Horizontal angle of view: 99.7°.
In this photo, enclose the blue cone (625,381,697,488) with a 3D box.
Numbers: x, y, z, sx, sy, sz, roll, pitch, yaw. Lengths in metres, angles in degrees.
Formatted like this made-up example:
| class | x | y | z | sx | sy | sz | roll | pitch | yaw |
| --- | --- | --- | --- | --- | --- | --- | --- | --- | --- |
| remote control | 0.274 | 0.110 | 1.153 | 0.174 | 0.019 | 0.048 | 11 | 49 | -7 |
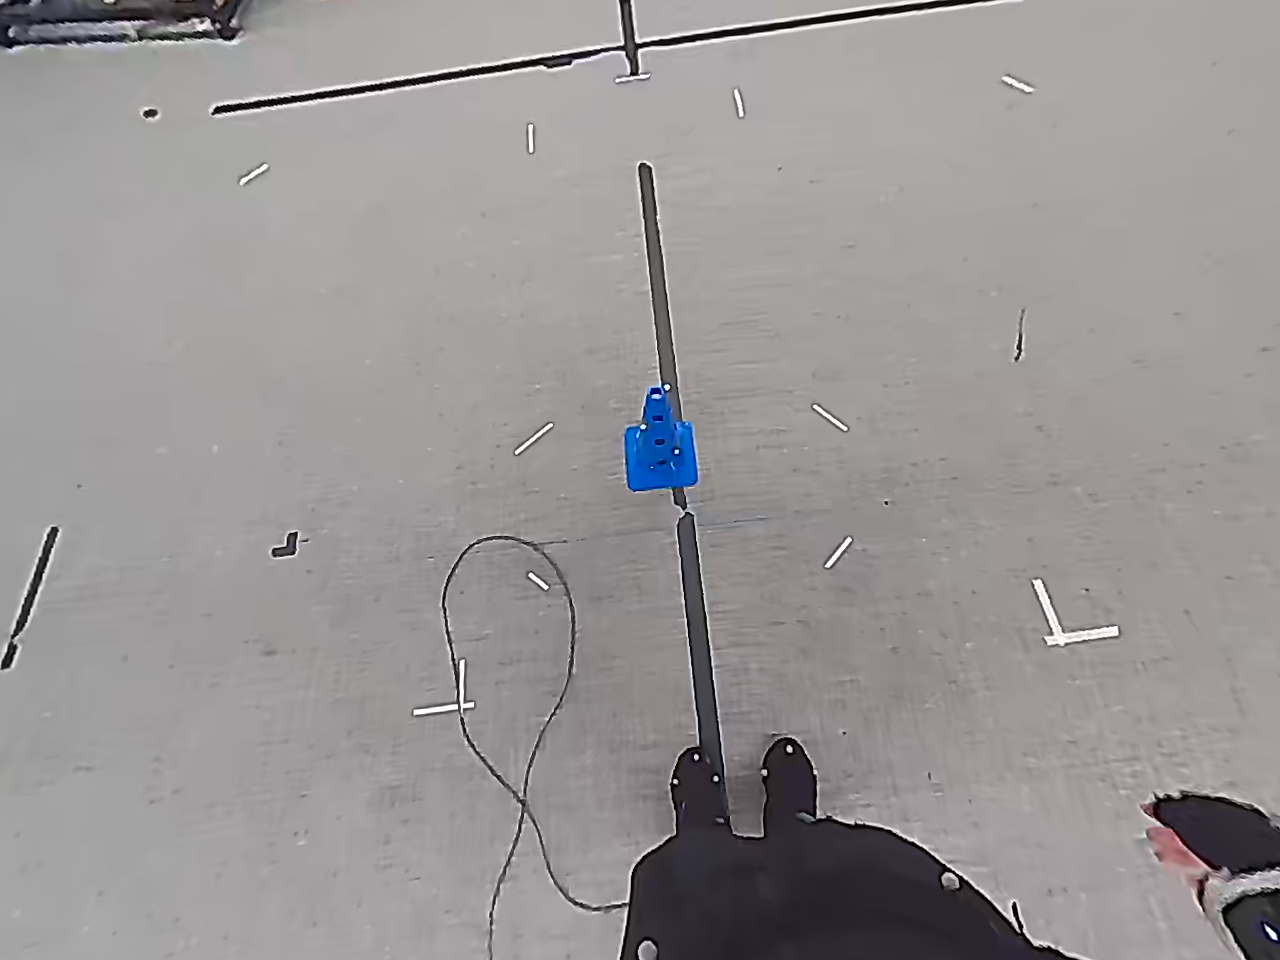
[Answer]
| class | x | y | z | sx | sy | sz | roll | pitch | yaw |
| --- | --- | --- | --- | --- | --- | --- | --- | --- | --- |
| blue cone | 0.046 | -0.129 | 1.361 | 0.193 | 0.380 | 0.192 | -8 | 69 | 2 |
